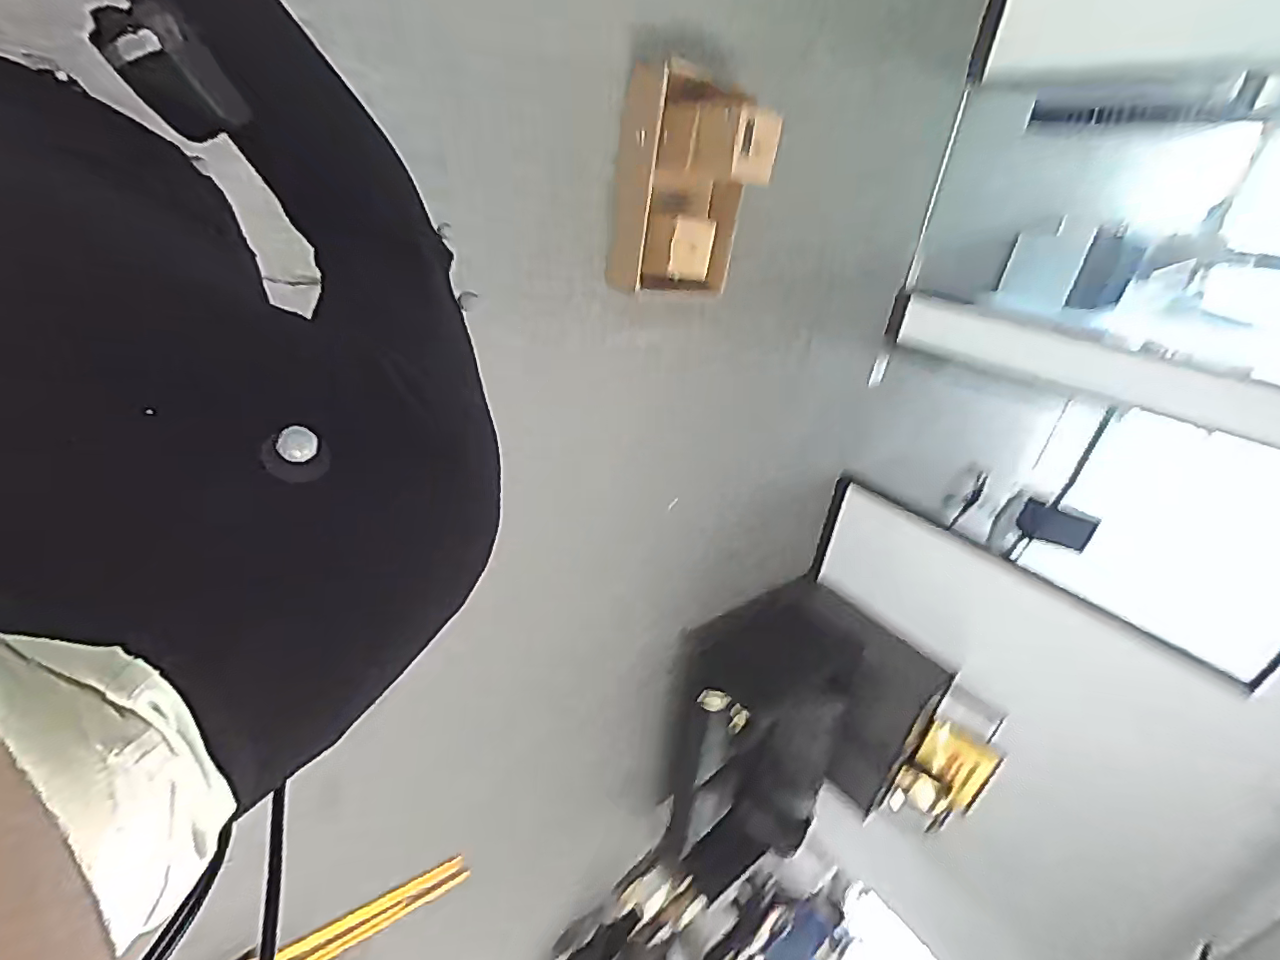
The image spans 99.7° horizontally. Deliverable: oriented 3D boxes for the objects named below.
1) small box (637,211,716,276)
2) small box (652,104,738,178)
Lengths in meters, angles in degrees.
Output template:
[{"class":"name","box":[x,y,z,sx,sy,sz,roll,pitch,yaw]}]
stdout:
[{"class":"small box","box":[0.118,-0.784,1.787,0.179,0.176,0.168,-11,123,-37]},{"class":"small box","box":[0.165,-1.040,1.657,0.179,0.176,0.168,-13,125,-37]}]
